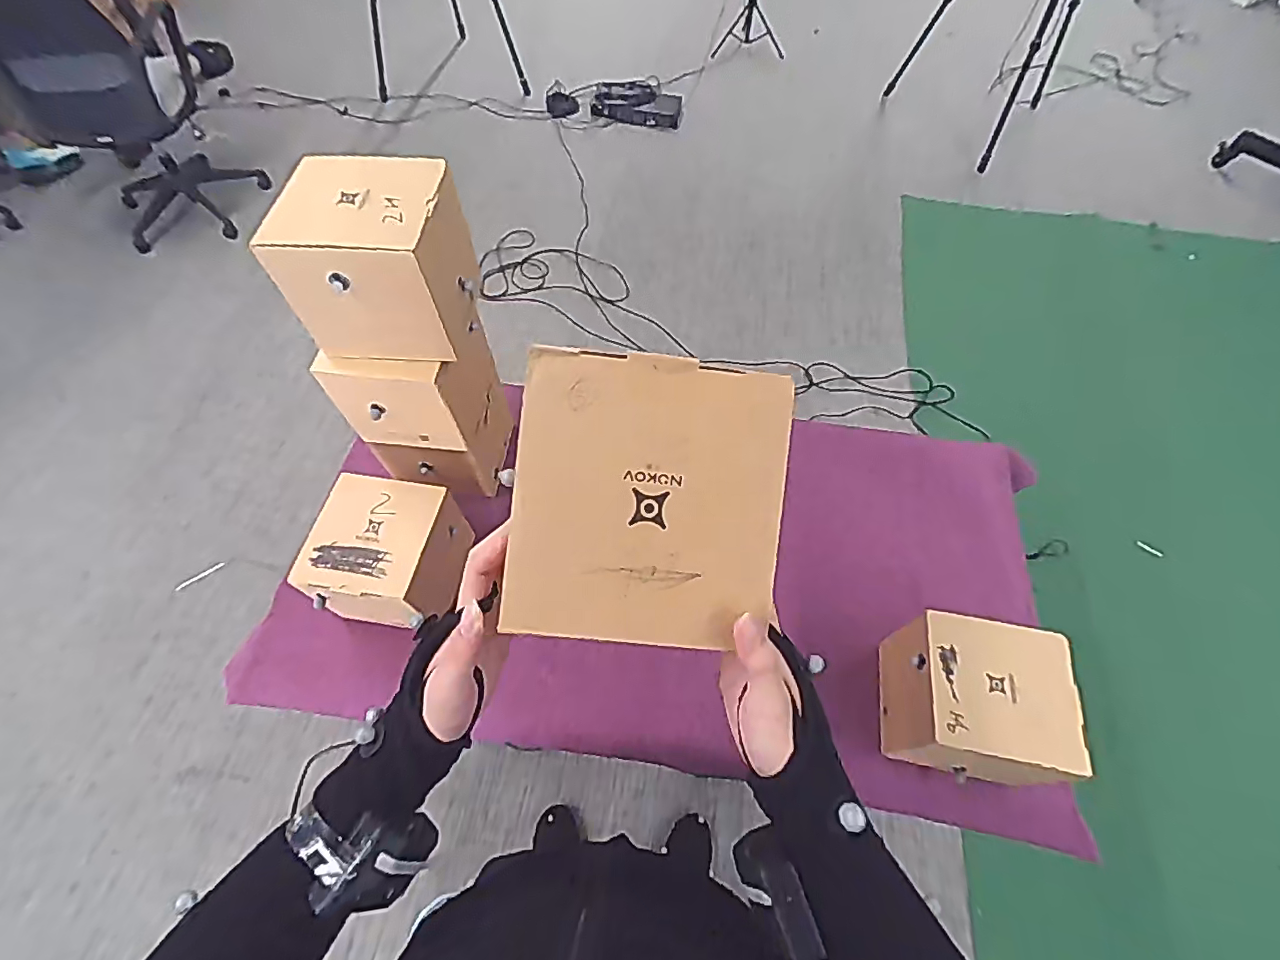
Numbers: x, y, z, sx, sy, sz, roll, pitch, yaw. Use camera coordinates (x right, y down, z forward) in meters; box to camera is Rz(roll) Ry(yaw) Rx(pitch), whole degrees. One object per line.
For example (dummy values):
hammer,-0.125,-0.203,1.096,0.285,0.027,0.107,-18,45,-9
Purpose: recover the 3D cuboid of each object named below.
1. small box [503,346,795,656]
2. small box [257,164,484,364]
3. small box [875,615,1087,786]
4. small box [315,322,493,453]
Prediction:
small box,0.001,0.014,0.412,0.168,0.176,0.179,7,90,-5
small box,-0.312,-0.261,0.672,0.179,0.176,0.168,3,60,0
small box,0.439,0.302,0.729,0.179,0.176,0.168,11,58,6
small box,-0.330,-0.157,0.801,0.168,0.176,0.179,6,59,2
